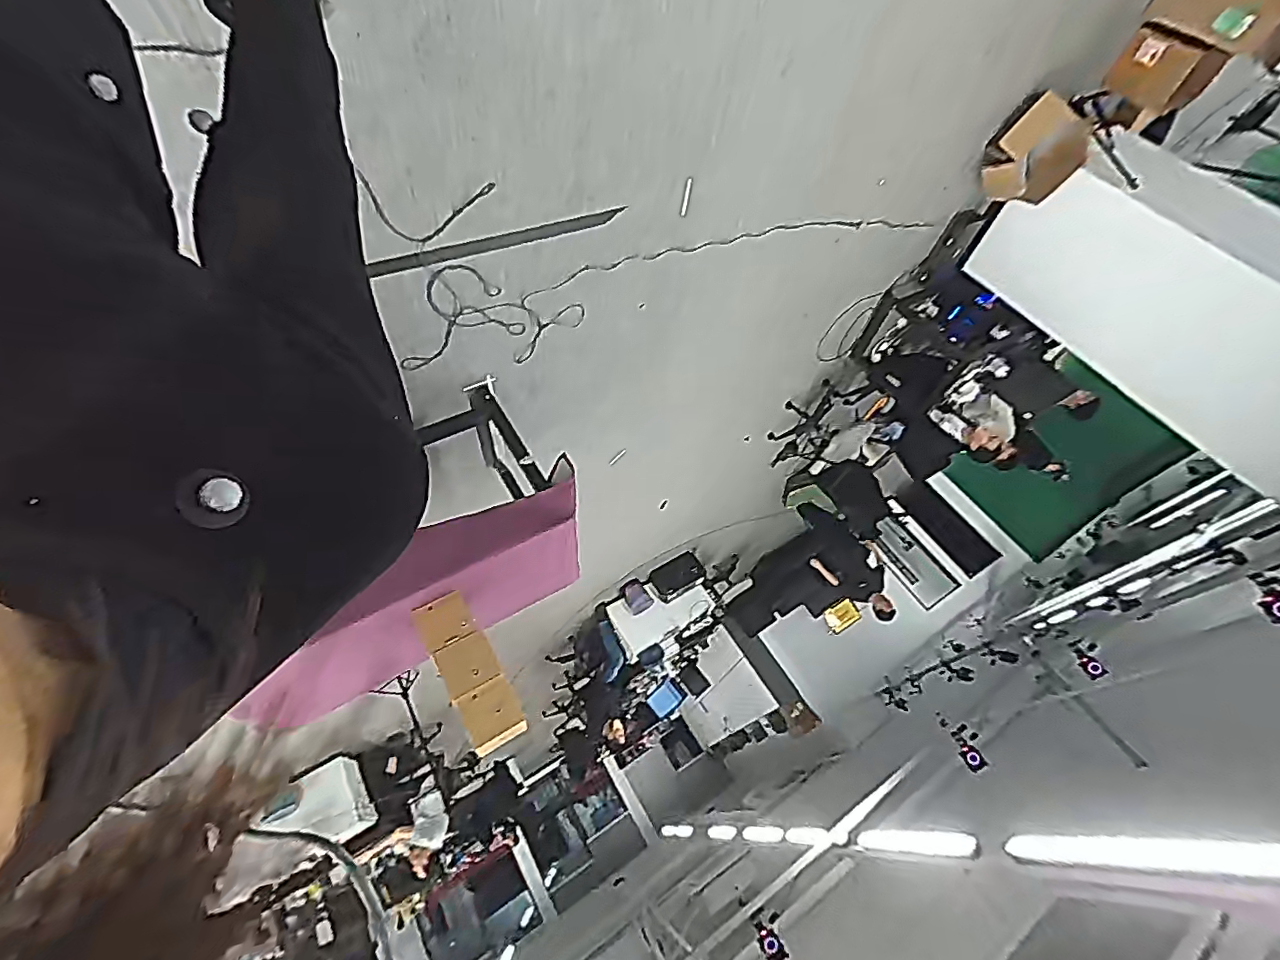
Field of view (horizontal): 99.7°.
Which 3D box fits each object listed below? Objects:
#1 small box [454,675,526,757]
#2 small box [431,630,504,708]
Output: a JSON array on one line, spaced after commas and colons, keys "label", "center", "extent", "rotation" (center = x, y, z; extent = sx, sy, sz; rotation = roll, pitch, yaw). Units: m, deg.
[{"label": "small box", "center": [-0.479, 0.749, 1.726], "extent": [0.168, 0.176, 0.179], "rotation": [-25, 155, -24]}, {"label": "small box", "center": [-0.567, 0.625, 1.785], "extent": [0.179, 0.176, 0.168], "rotation": [-25, 153, -24]}]
